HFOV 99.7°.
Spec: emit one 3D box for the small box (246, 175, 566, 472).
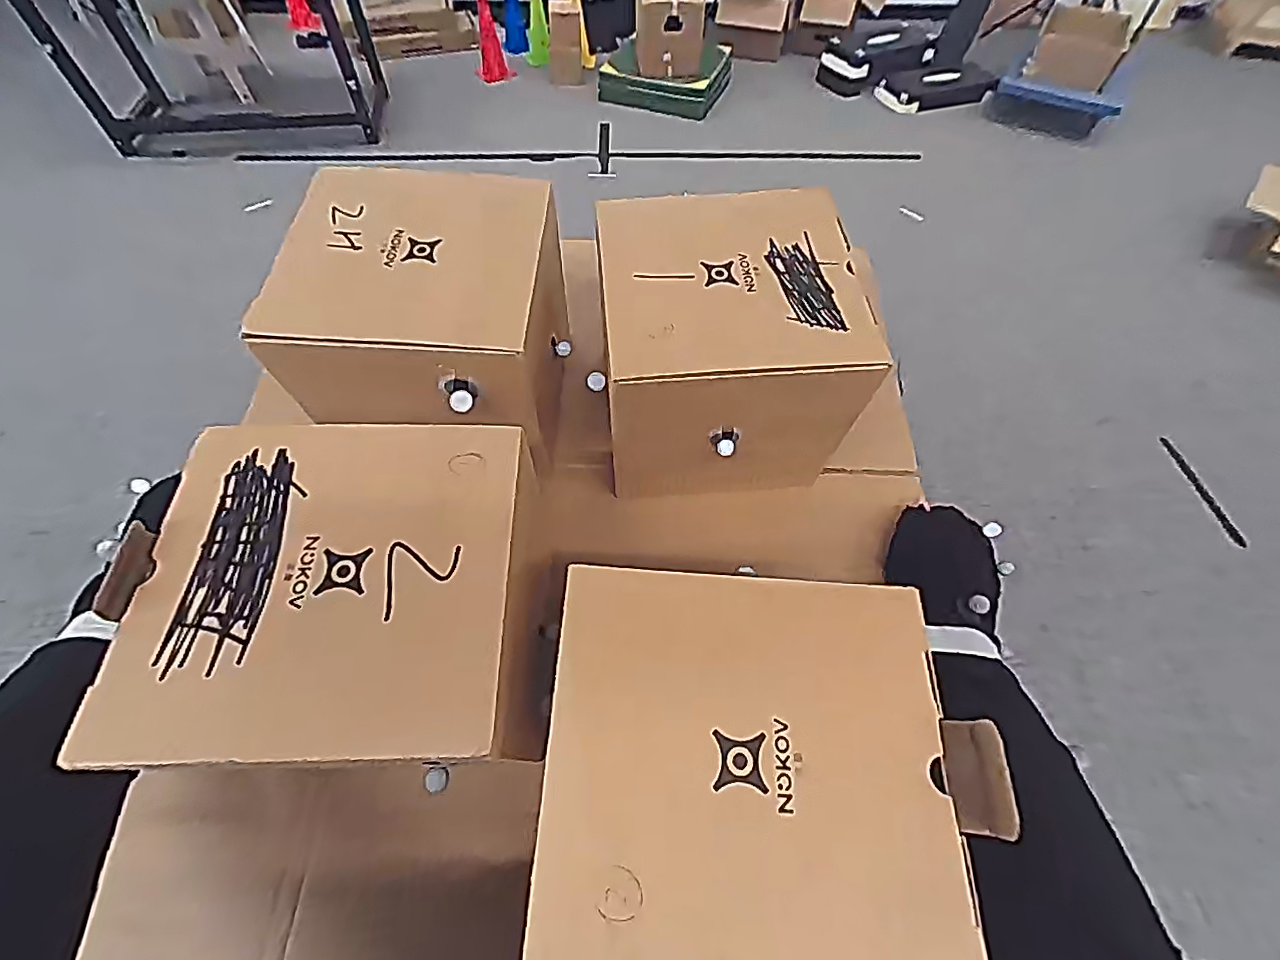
[{"bbox_3d":[-0.160,-0.116,0.445,0.179,0.176,0.168,3,63,0],"label":"small box"}]
